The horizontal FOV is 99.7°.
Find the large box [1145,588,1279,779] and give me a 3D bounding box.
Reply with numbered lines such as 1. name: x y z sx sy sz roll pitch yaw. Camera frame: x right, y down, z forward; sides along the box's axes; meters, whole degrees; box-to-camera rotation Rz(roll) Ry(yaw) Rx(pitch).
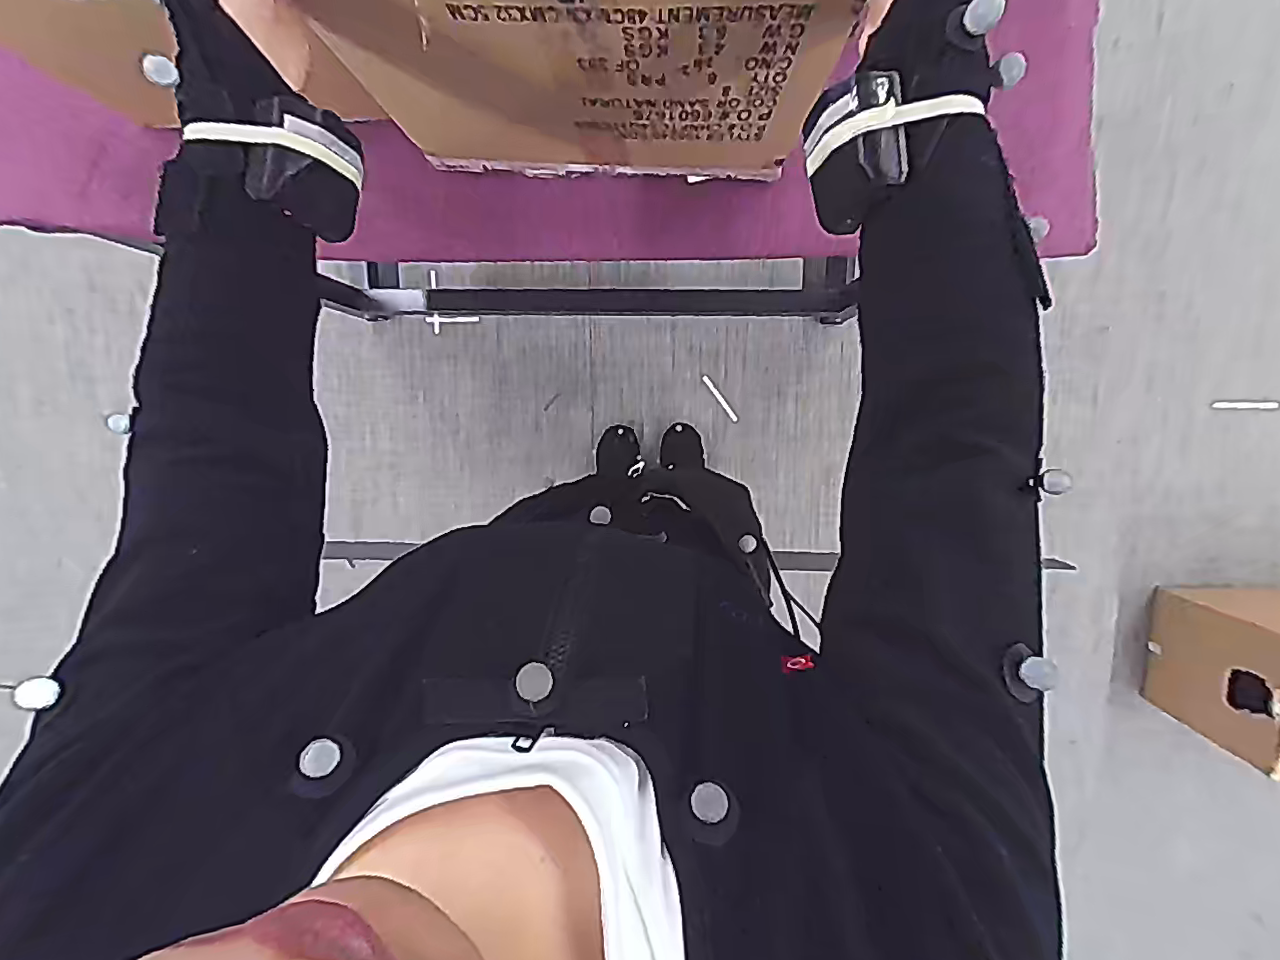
1. large box: 1.504 0.442 1.233 0.408 0.320 0.320 -1 97 3
